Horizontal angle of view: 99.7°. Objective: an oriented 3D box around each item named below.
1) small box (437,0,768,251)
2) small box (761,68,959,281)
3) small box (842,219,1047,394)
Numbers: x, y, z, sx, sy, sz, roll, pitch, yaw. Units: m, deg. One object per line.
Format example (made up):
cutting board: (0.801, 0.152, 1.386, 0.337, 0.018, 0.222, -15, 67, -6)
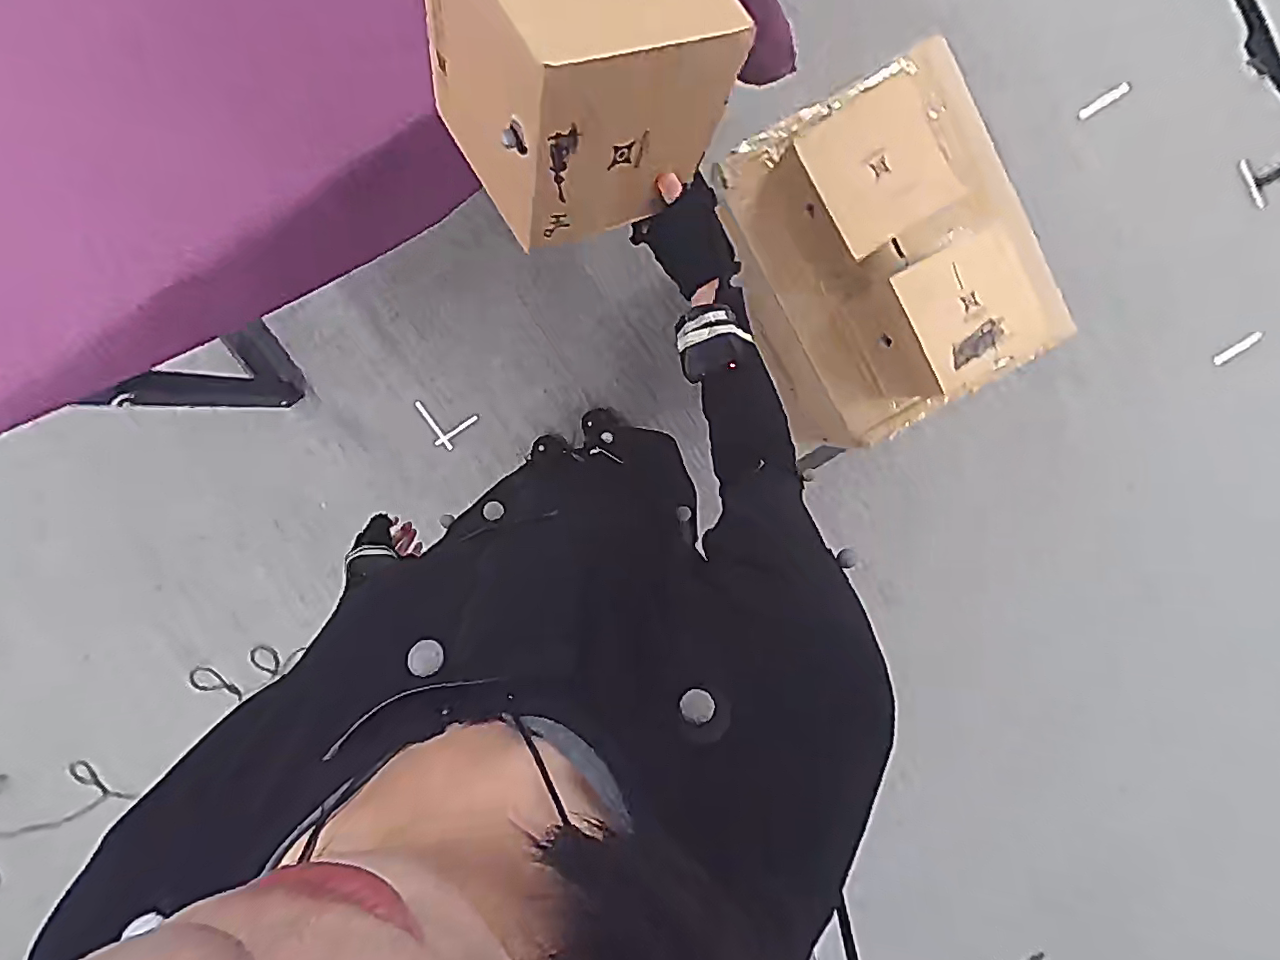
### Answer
small box: (-0.041, -0.326, 0.431, 0.179, 0.168, 0.176, -29, 82, -22)
small box: (0.297, -0.414, 0.769, 0.168, 0.176, 0.179, -32, 99, 3)
small box: (0.432, -0.239, 0.795, 0.168, 0.176, 0.179, -29, 96, 1)
